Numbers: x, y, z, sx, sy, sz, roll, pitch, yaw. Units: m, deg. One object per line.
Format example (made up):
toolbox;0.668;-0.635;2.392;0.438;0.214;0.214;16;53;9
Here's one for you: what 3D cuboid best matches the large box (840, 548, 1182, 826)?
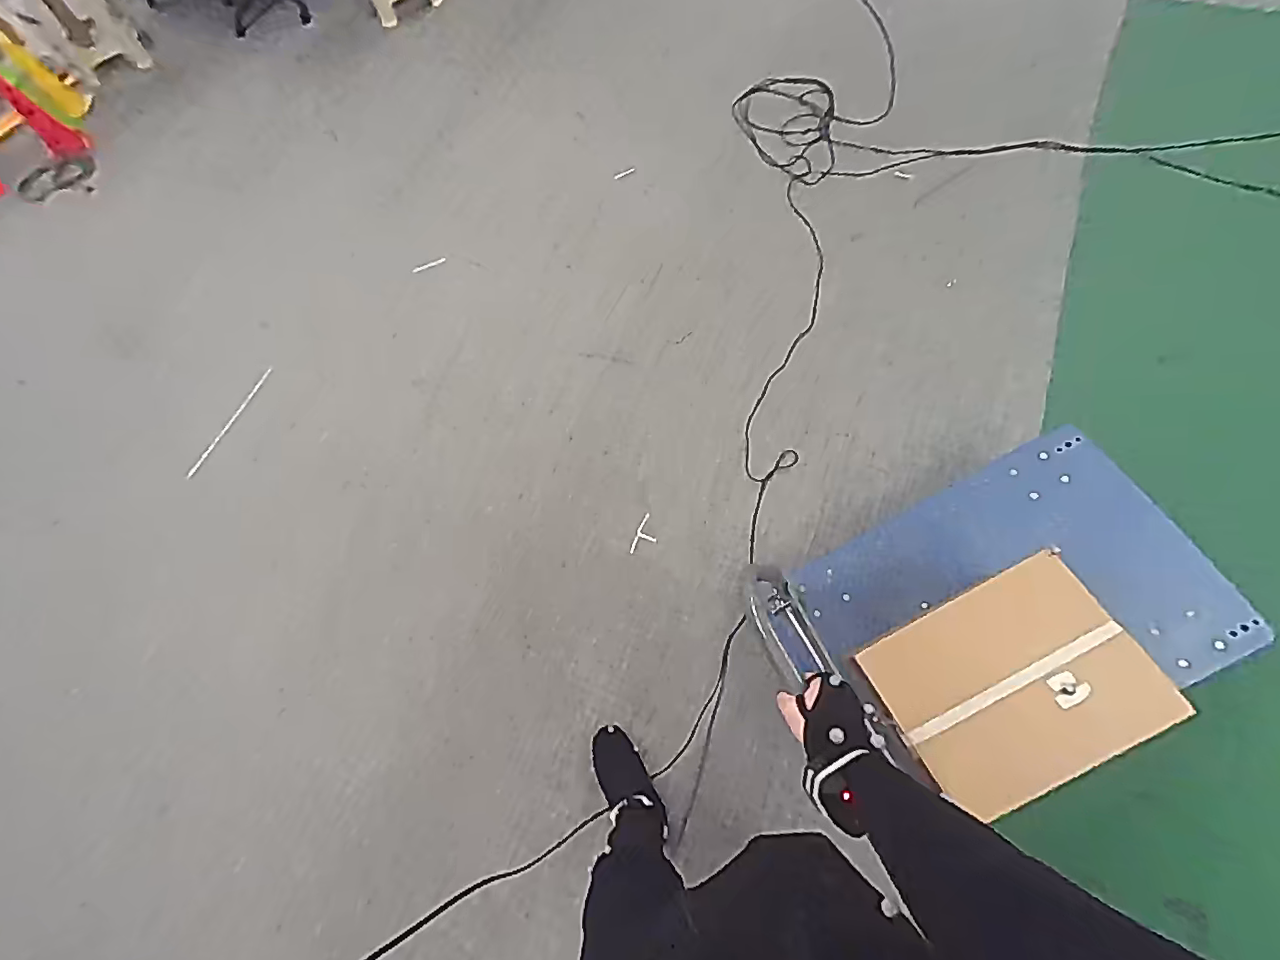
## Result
large box;0.667;0.394;1.065;0.408;0.320;0.320;-30;67;3
